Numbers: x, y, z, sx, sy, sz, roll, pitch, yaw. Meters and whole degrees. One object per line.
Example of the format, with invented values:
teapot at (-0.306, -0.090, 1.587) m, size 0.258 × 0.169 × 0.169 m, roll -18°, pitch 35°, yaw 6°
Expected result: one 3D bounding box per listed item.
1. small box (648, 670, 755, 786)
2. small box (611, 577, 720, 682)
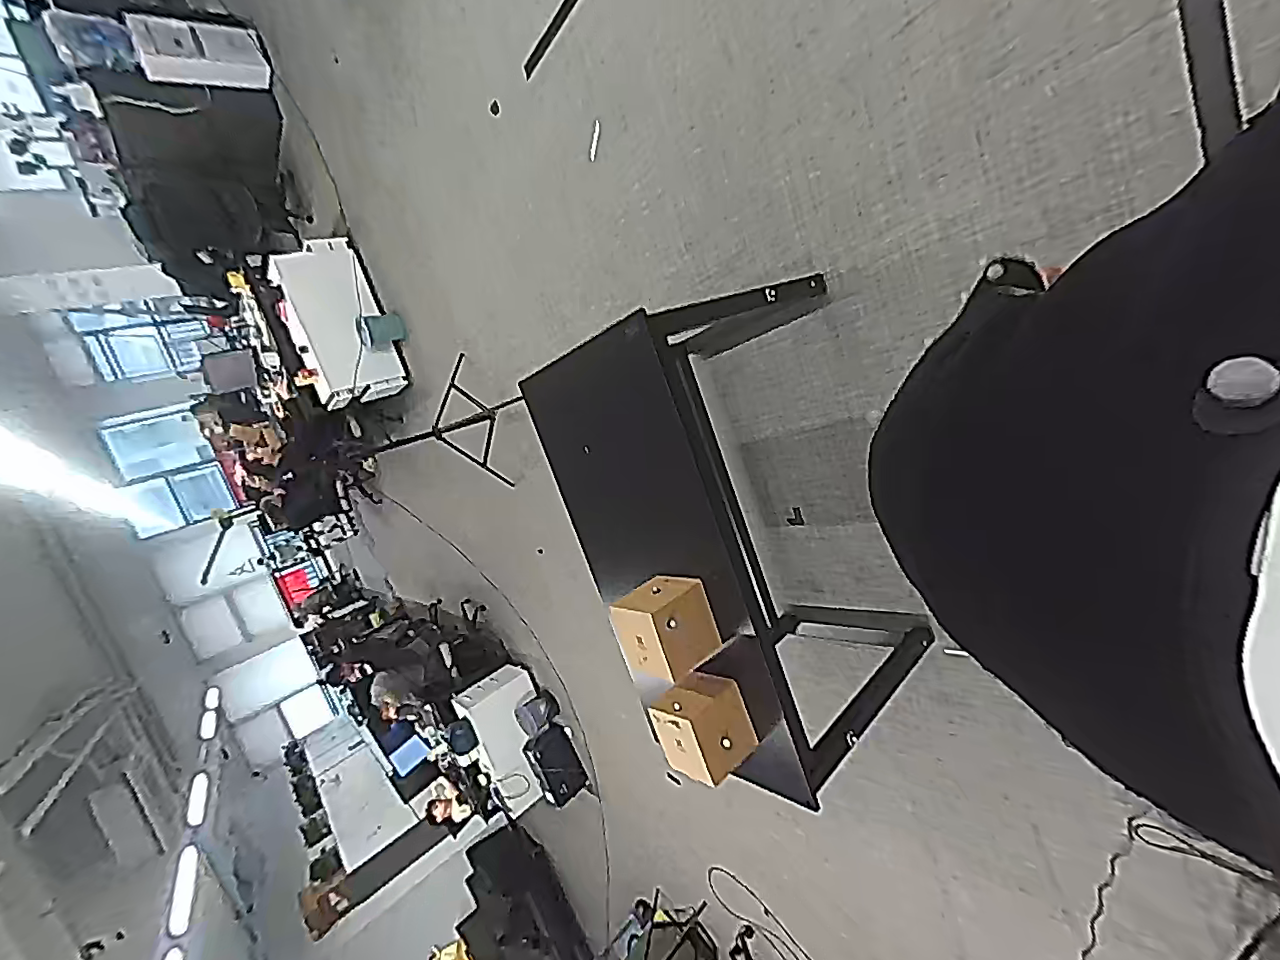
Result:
small box at (0.156, 0.601, 1.333) m, size 0.168 × 0.176 × 0.179 m, roll -14°, pitch 100°, yaw 53°
small box at (0.064, 0.347, 1.298) m, size 0.168 × 0.176 × 0.179 m, roll -8°, pitch 104°, yaw 53°
